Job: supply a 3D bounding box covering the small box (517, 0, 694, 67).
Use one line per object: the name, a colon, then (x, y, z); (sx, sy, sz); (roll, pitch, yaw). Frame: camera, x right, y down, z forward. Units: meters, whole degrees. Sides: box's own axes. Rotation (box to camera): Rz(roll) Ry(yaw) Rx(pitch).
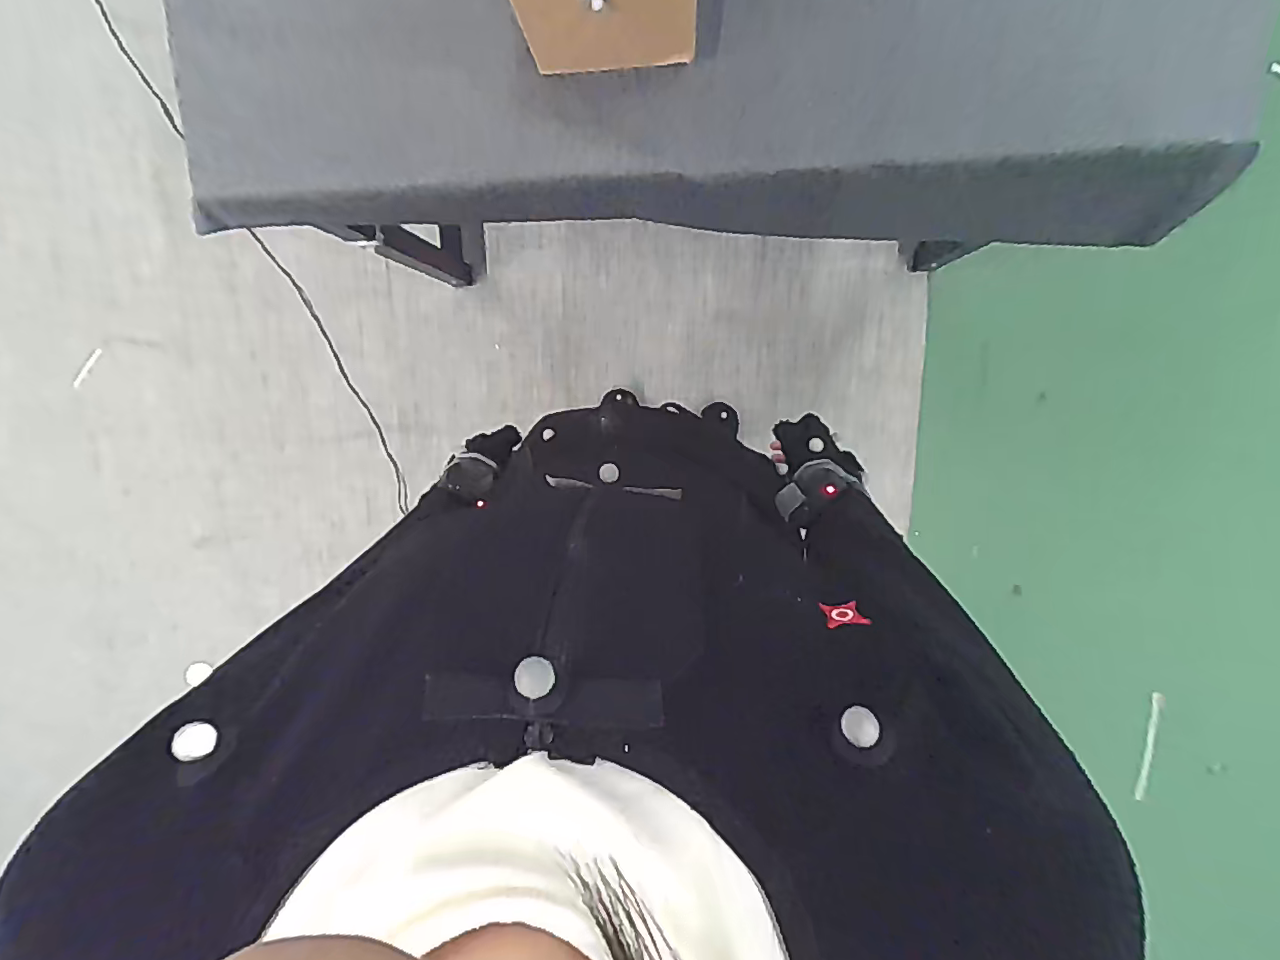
small box: (-0.037, -0.529, 0.513); (0.179, 0.176, 0.168); (-2, 101, 3)
